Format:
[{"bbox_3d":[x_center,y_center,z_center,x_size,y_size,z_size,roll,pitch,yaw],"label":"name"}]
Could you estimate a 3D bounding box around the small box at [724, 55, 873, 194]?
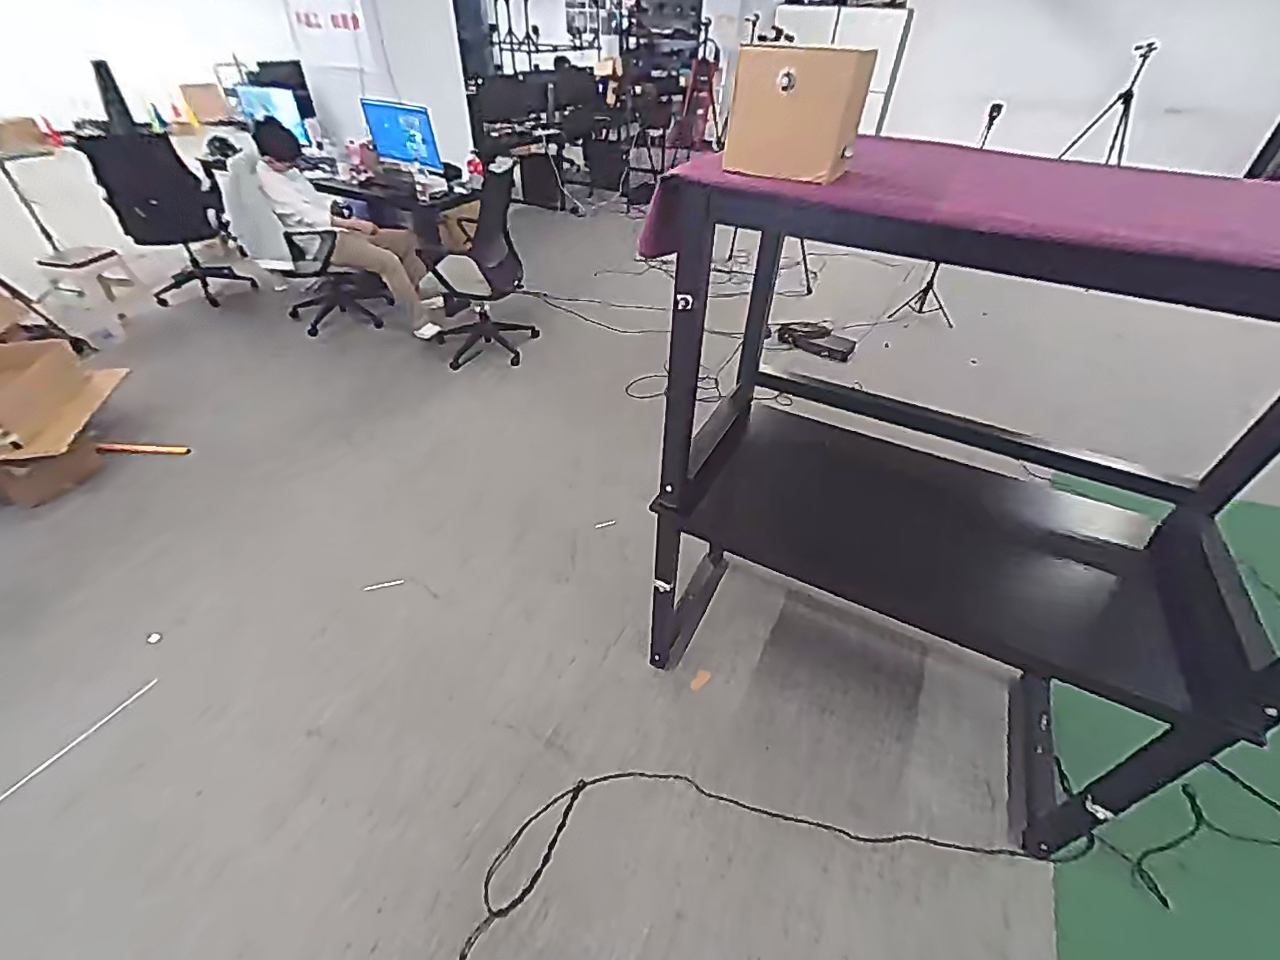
[{"bbox_3d":[0.248,-0.571,0.870,0.179,0.176,0.168,20,43,19],"label":"small box"}]
